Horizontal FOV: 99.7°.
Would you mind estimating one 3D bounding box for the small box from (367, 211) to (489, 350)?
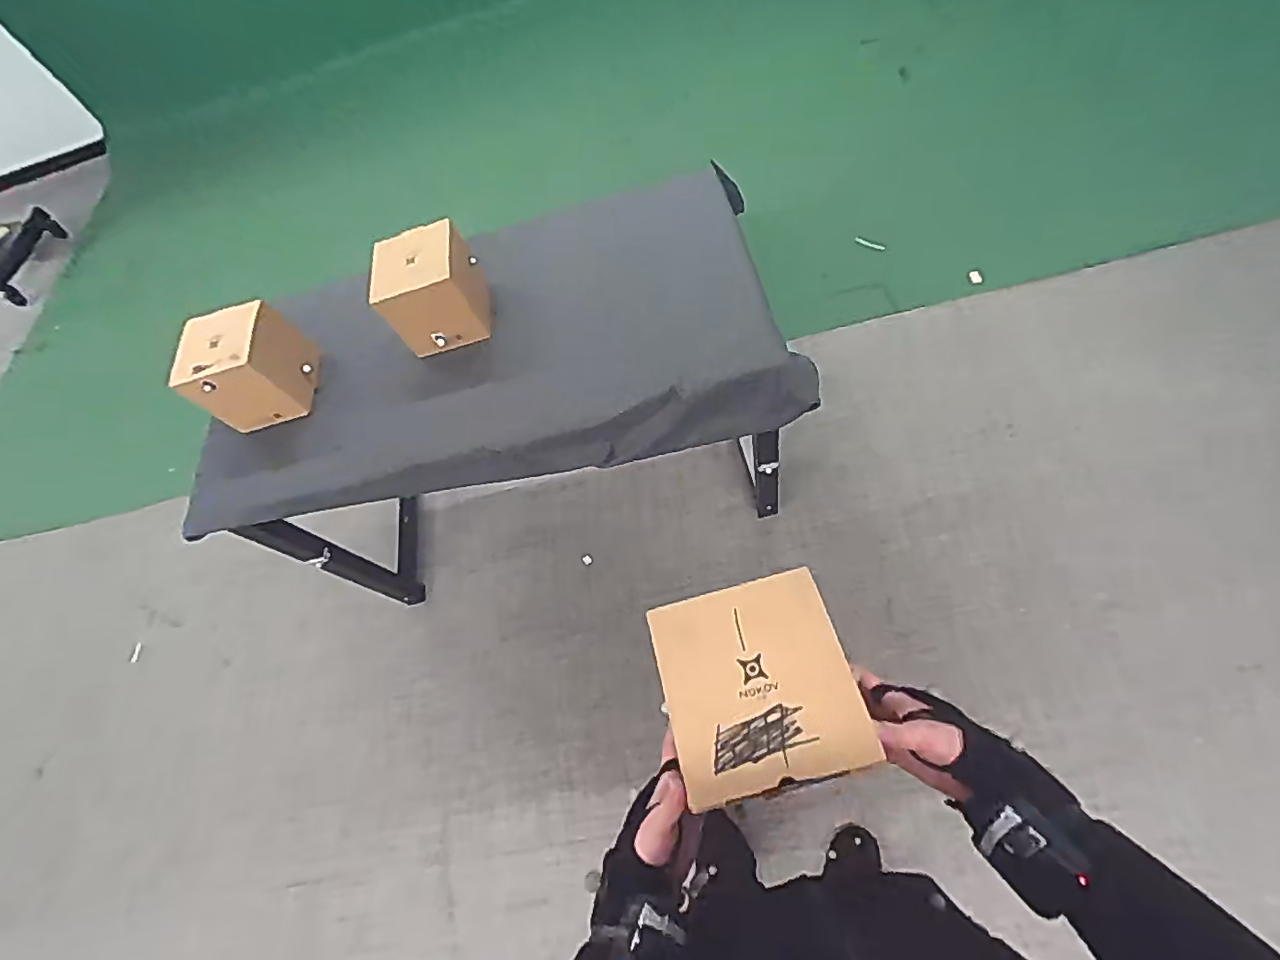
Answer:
[{"bbox_3d":[-0.420,-0.396,1.091,0.168,0.176,0.179,-15,63,6],"label":"small box"}]

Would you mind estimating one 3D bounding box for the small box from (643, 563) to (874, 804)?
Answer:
[{"bbox_3d":[0.112,0.210,0.549,0.168,0.176,0.179,-16,59,3],"label":"small box"}]

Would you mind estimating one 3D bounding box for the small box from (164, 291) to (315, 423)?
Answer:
[{"bbox_3d":[-0.798,-0.244,1.099,0.168,0.176,0.179,-15,61,6],"label":"small box"}]
